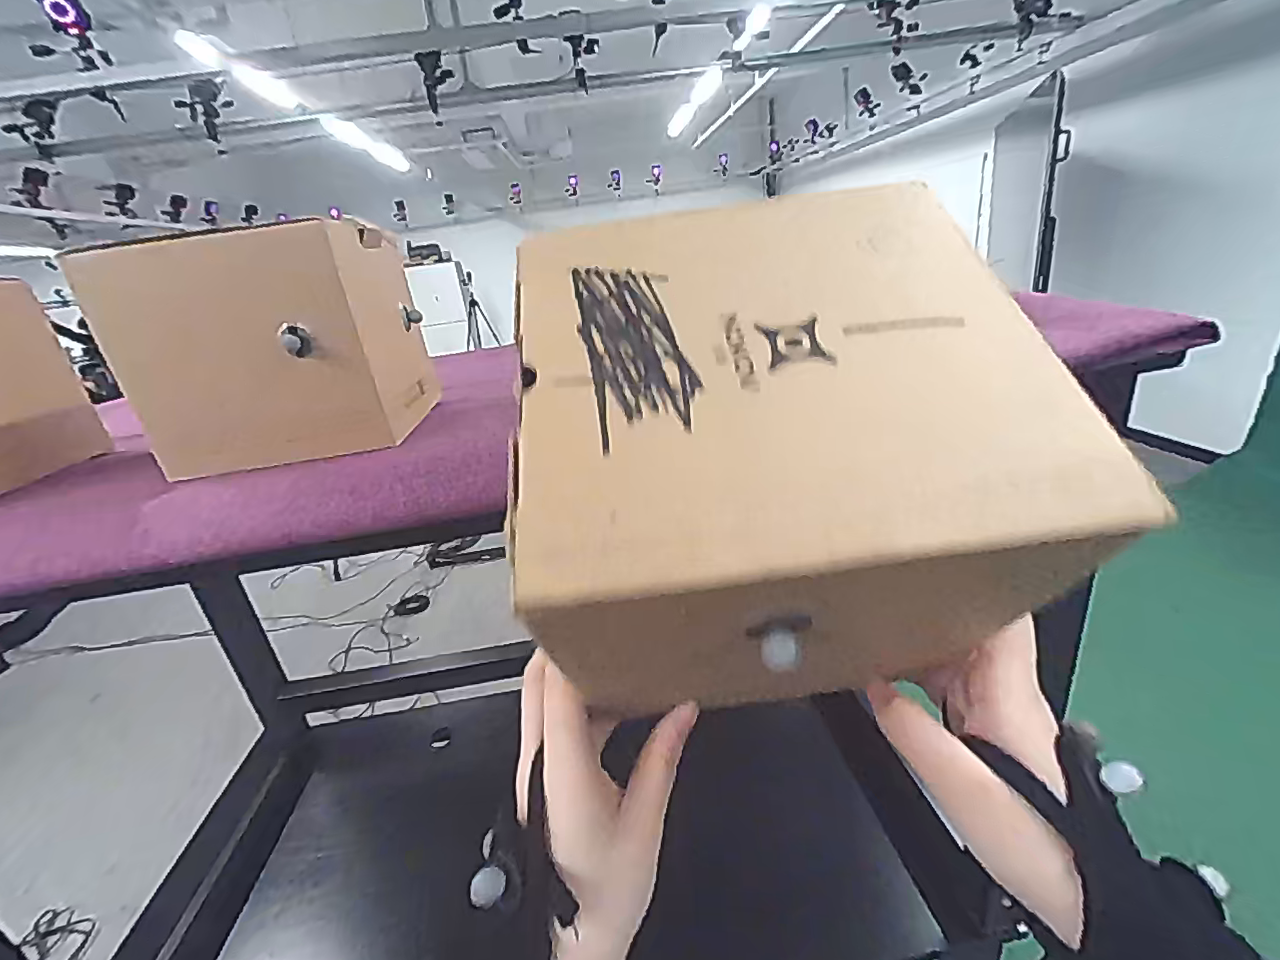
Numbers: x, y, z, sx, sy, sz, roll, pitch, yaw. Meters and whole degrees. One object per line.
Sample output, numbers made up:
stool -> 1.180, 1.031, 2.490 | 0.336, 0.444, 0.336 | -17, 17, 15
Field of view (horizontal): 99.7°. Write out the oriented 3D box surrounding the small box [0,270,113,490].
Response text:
small box -> -0.606, -0.071, 0.443 | 0.168, 0.176, 0.179 | -8, 22, -5

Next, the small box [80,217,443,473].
small box -> -0.290, -0.120, 0.470 | 0.179, 0.176, 0.168 | -10, 22, -4

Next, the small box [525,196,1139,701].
small box -> 0.052, -0.002, 0.259 | 0.179, 0.176, 0.168 | -7, 58, 0
